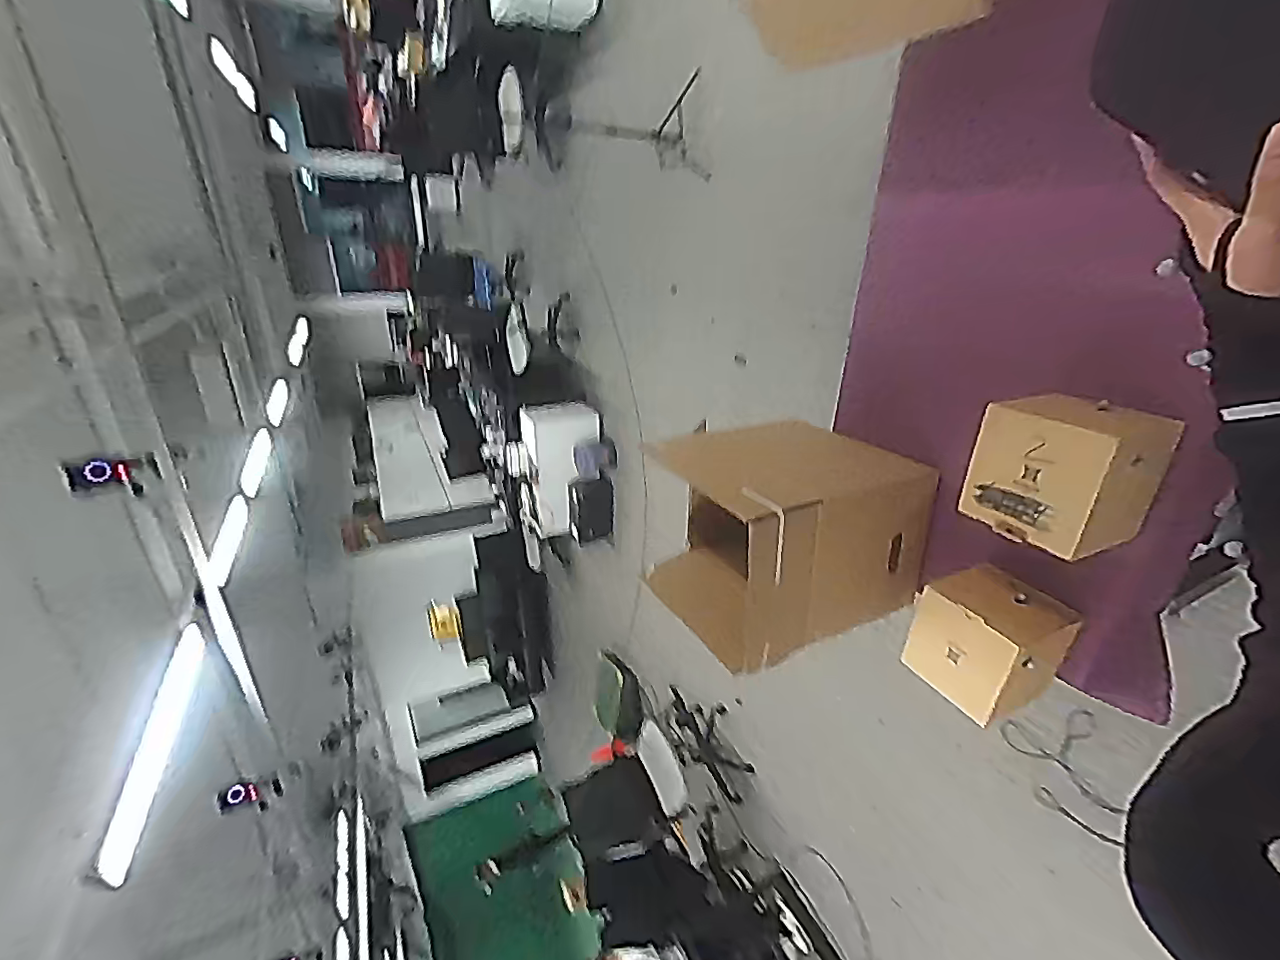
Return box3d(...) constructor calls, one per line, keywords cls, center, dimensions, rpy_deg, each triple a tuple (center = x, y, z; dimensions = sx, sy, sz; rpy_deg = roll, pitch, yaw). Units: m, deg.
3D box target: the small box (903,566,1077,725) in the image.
box3d(cls="small box", center=(0.594, 0.274, 0.926), dimensions=(0.168, 0.176, 0.179), rpy_deg=(42, 136, 54))
